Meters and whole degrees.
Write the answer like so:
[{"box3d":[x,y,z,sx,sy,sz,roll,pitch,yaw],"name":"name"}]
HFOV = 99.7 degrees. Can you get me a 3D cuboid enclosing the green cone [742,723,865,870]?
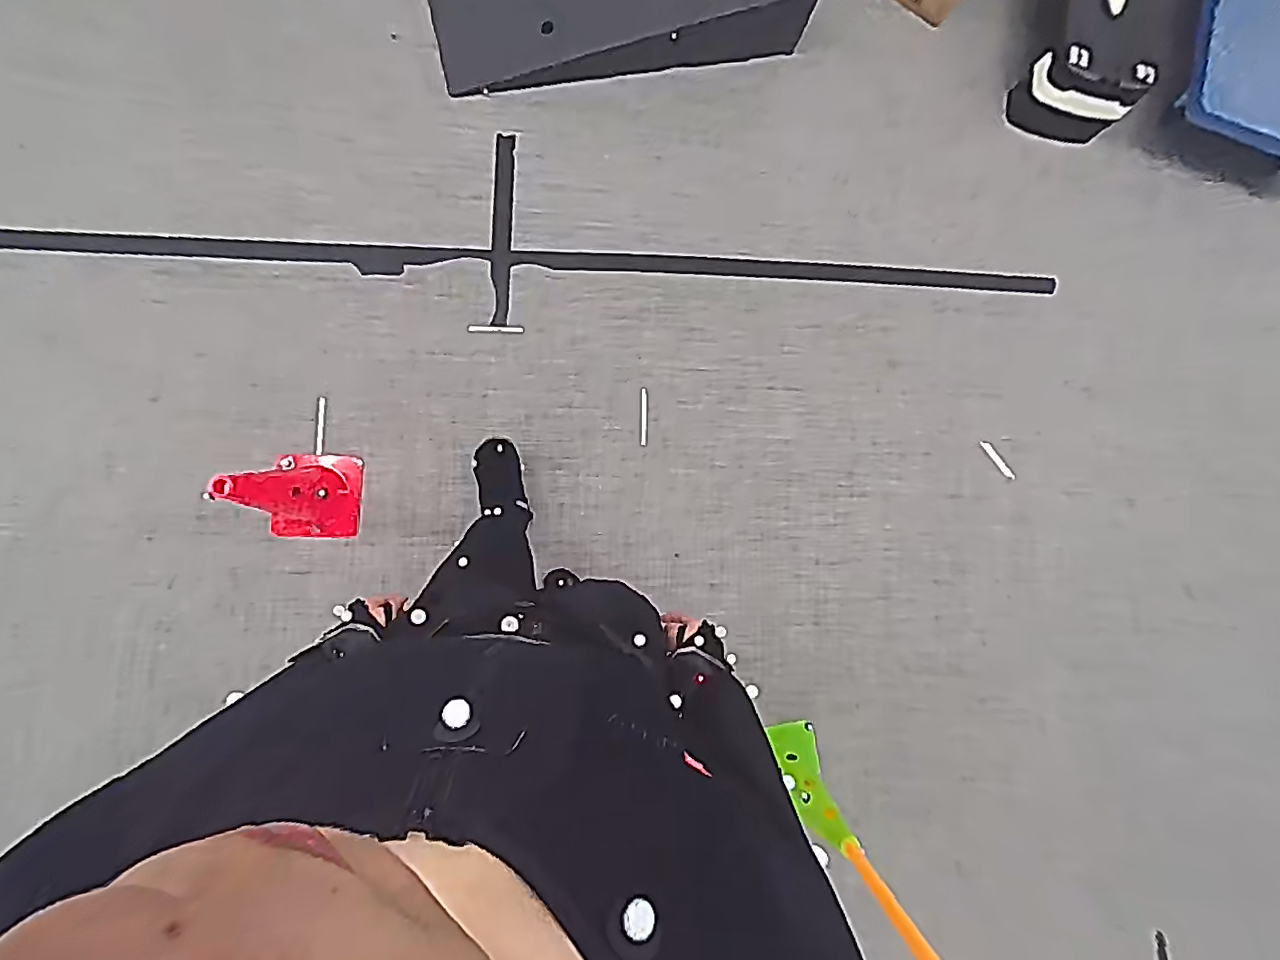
[{"box3d":[0.383,0.723,1.201,0.200,0.368,0.202,-10,88,-7],"name":"green cone"}]
